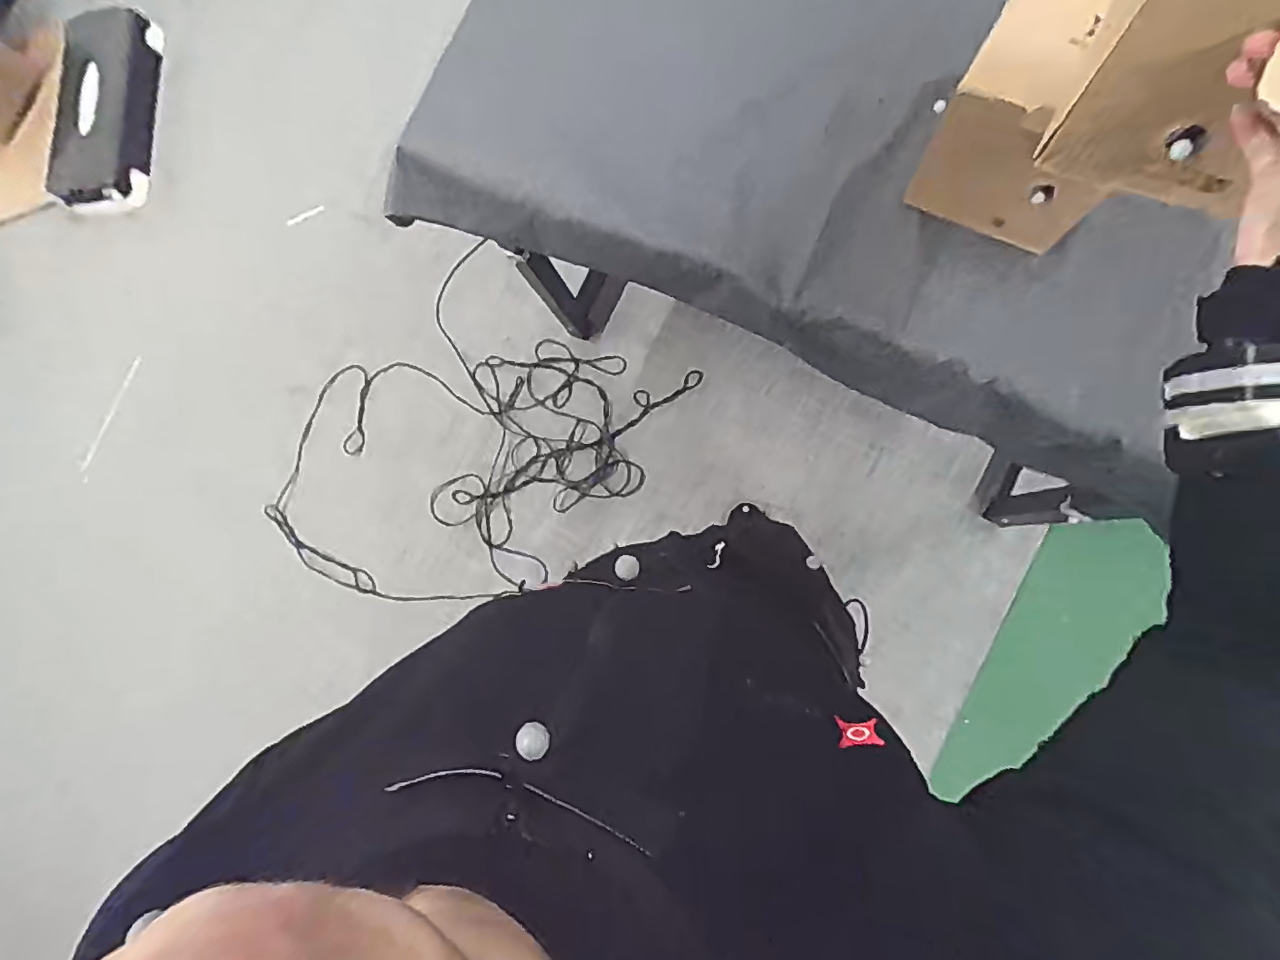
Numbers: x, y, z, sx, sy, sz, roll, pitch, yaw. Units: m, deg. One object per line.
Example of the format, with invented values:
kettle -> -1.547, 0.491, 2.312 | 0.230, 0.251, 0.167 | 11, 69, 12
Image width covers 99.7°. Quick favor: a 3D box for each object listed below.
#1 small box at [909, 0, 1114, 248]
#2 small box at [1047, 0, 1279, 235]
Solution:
small box -> 0.402, -0.373, 0.546 | 0.168, 0.176, 0.179 | 29, 88, 10
small box -> 0.376, -0.276, 0.299 | 0.168, 0.176, 0.179 | 25, 93, 15
